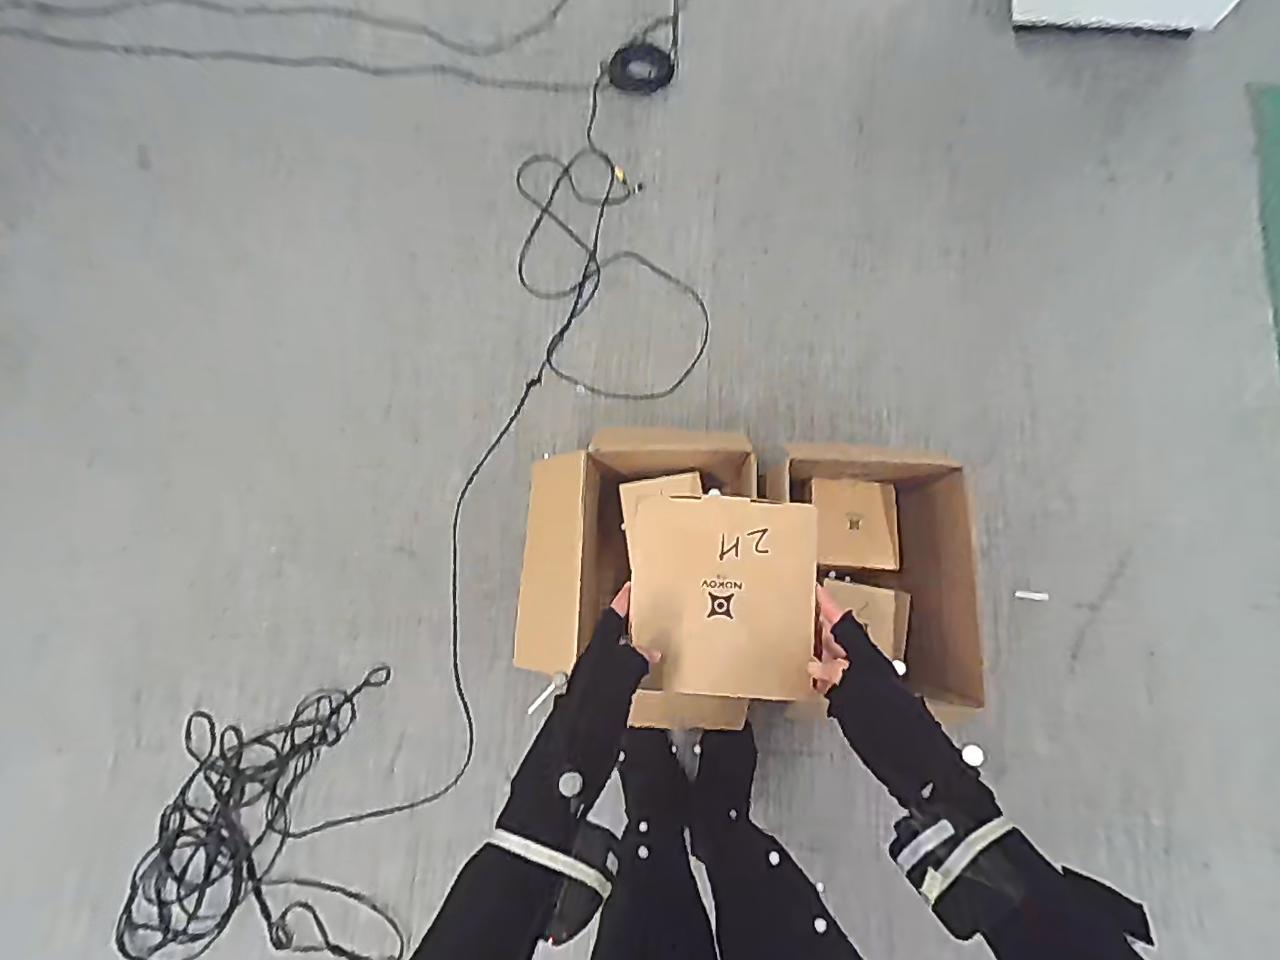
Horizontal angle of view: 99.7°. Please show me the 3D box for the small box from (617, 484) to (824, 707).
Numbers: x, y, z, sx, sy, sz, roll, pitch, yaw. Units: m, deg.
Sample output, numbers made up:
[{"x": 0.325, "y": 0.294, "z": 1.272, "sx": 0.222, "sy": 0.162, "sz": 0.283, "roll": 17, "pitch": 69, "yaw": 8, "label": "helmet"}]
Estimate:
[{"x": 0.071, "y": 0.105, "z": 0.542, "sx": 0.168, "sy": 0.176, "sz": 0.179, "roll": 6, "pitch": 84, "yaw": 0, "label": "small box"}]
